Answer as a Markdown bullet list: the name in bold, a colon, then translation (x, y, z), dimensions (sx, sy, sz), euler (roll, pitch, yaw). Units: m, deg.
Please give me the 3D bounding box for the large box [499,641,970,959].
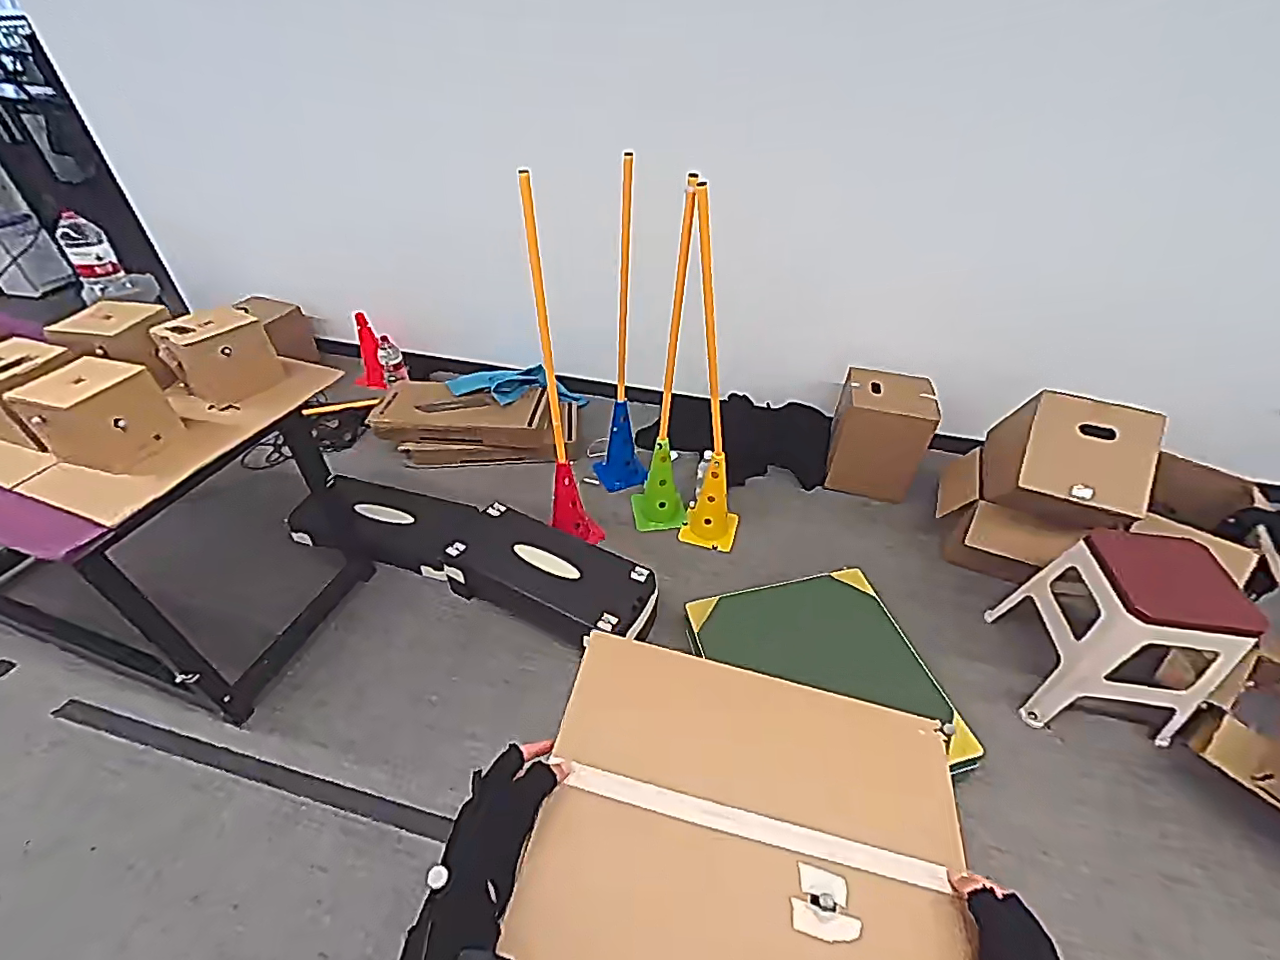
- **large box**: translation (0.090, 0.442, 0.628), dimensions (0.408, 0.320, 0.320), euler (14, 45, 5)
